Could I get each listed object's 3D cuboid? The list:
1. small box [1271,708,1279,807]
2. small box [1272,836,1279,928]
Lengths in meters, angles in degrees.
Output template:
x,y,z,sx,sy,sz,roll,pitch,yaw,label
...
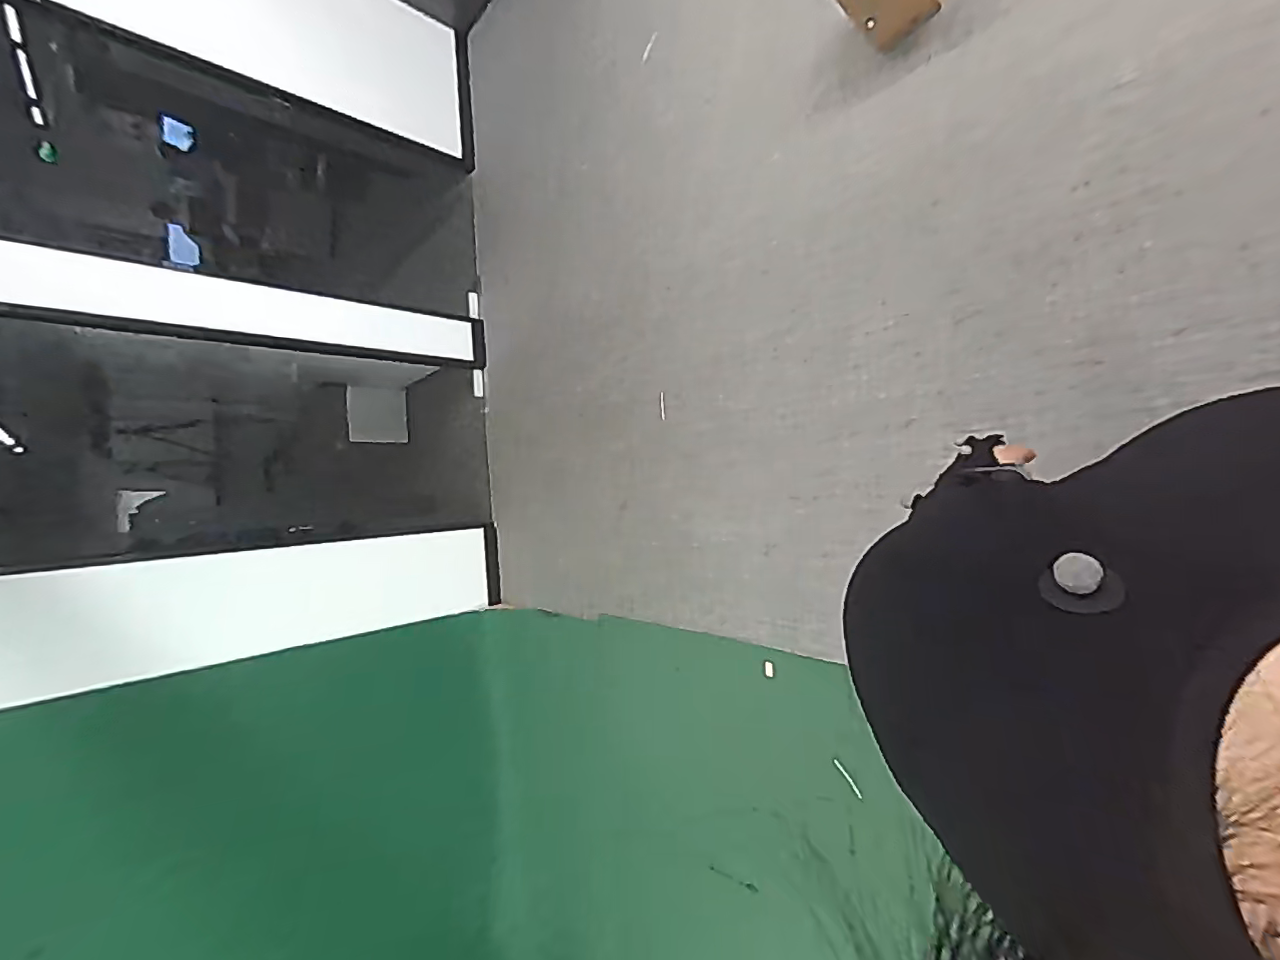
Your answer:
x,y,z,sx,sy,sz,roll,pitch,yaw,label
1.124,0.485,0.846,0.168,0.176,0.179,-6,87,47,small box
0.885,0.475,0.623,0.168,0.176,0.179,28,112,44,small box
